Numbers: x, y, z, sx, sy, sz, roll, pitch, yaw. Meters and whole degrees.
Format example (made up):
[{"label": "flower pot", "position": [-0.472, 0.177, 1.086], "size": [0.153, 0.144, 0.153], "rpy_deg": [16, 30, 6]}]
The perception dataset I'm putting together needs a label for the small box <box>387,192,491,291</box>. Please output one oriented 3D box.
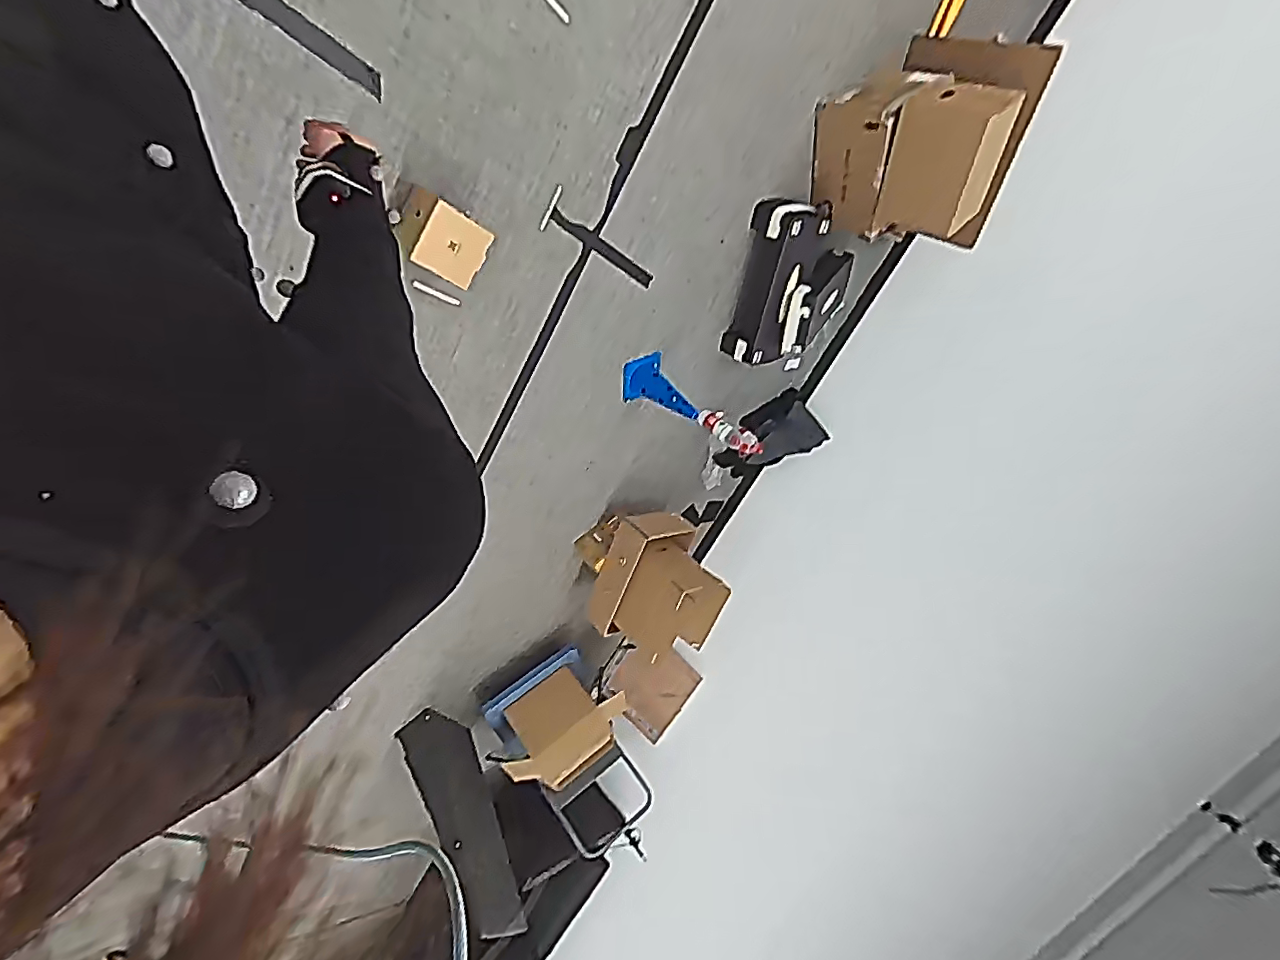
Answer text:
[{"label": "small box", "position": [-0.543, -0.642, 1.449], "size": [0.179, 0.176, 0.168], "rpy_deg": [17, 110, -53]}]
